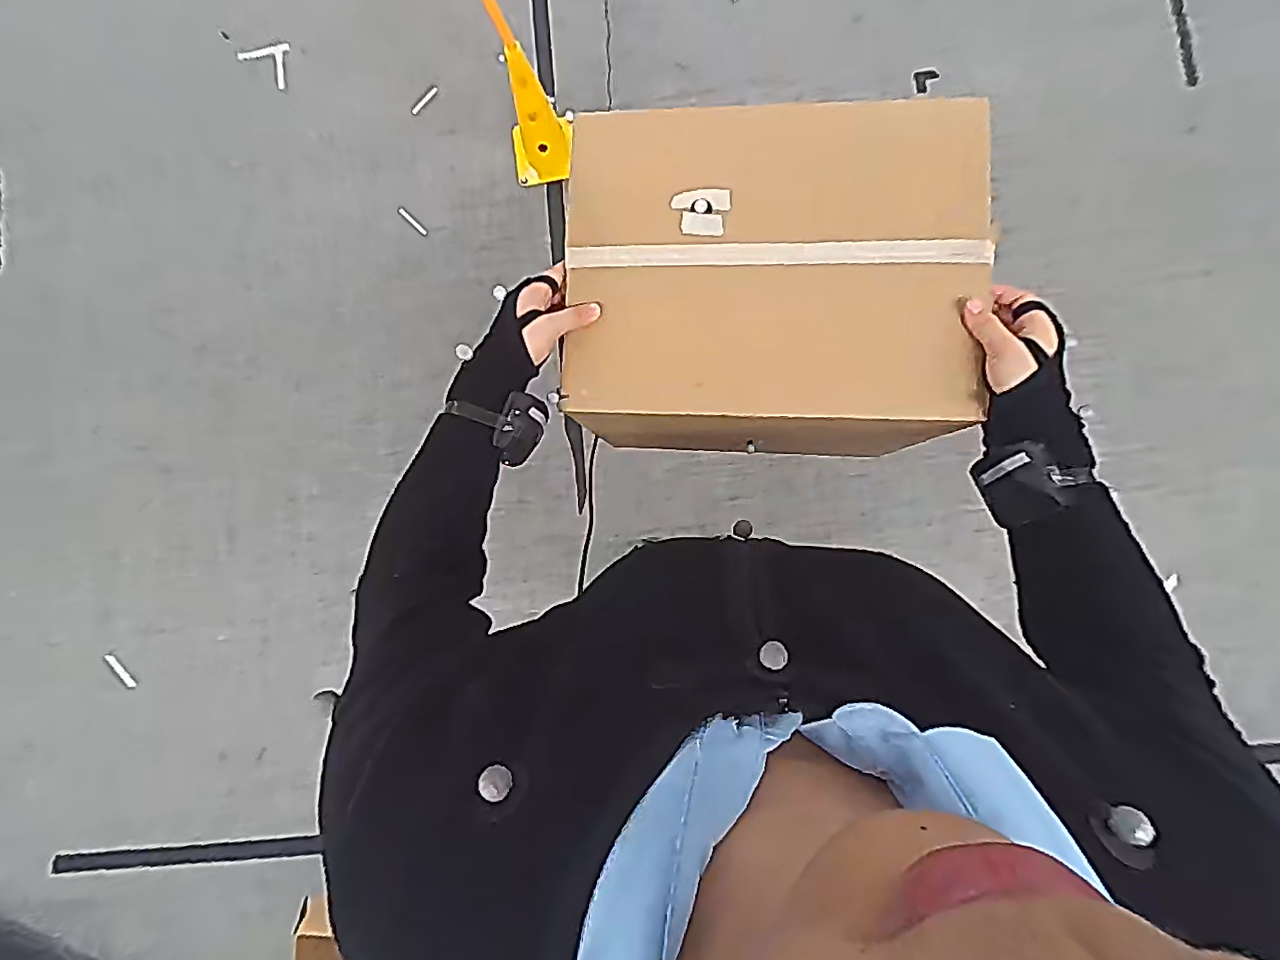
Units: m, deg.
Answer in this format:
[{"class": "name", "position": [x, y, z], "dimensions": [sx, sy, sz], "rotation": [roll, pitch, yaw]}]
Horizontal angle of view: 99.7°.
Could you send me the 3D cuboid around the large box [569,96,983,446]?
[{"class": "large box", "position": [0.149, -0.212, 0.685], "dimensions": [0.408, 0.320, 0.320], "rotation": [2, 85, 8]}]
